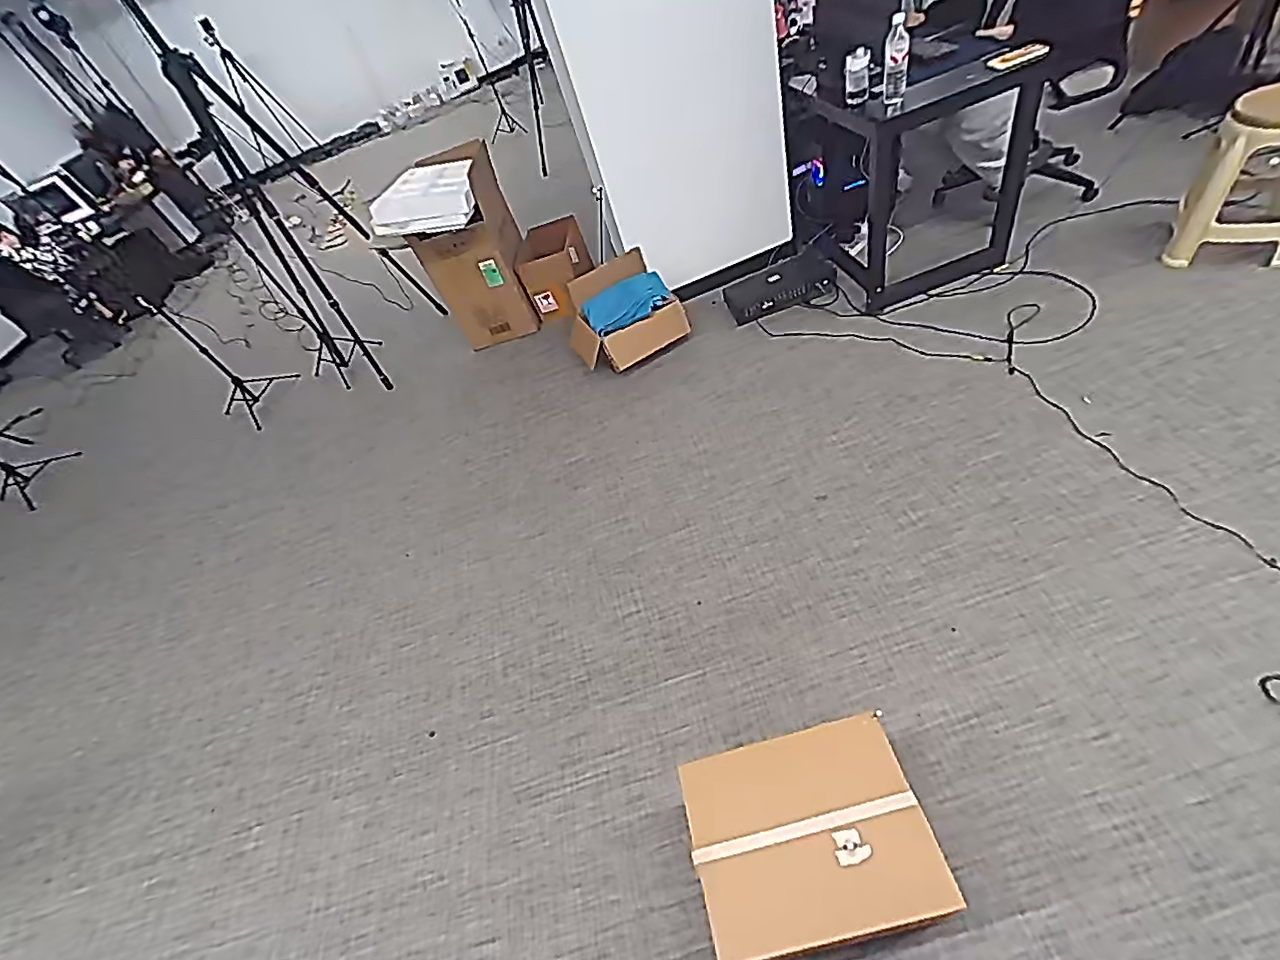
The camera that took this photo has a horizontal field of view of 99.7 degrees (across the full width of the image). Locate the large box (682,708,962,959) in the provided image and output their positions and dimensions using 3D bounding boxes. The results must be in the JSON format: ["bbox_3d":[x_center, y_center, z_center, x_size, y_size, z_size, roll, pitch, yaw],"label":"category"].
[{"bbox_3d":[0.336,0.712,1.073,0.408,0.320,0.320,-18,47,4],"label":"large box"}]
